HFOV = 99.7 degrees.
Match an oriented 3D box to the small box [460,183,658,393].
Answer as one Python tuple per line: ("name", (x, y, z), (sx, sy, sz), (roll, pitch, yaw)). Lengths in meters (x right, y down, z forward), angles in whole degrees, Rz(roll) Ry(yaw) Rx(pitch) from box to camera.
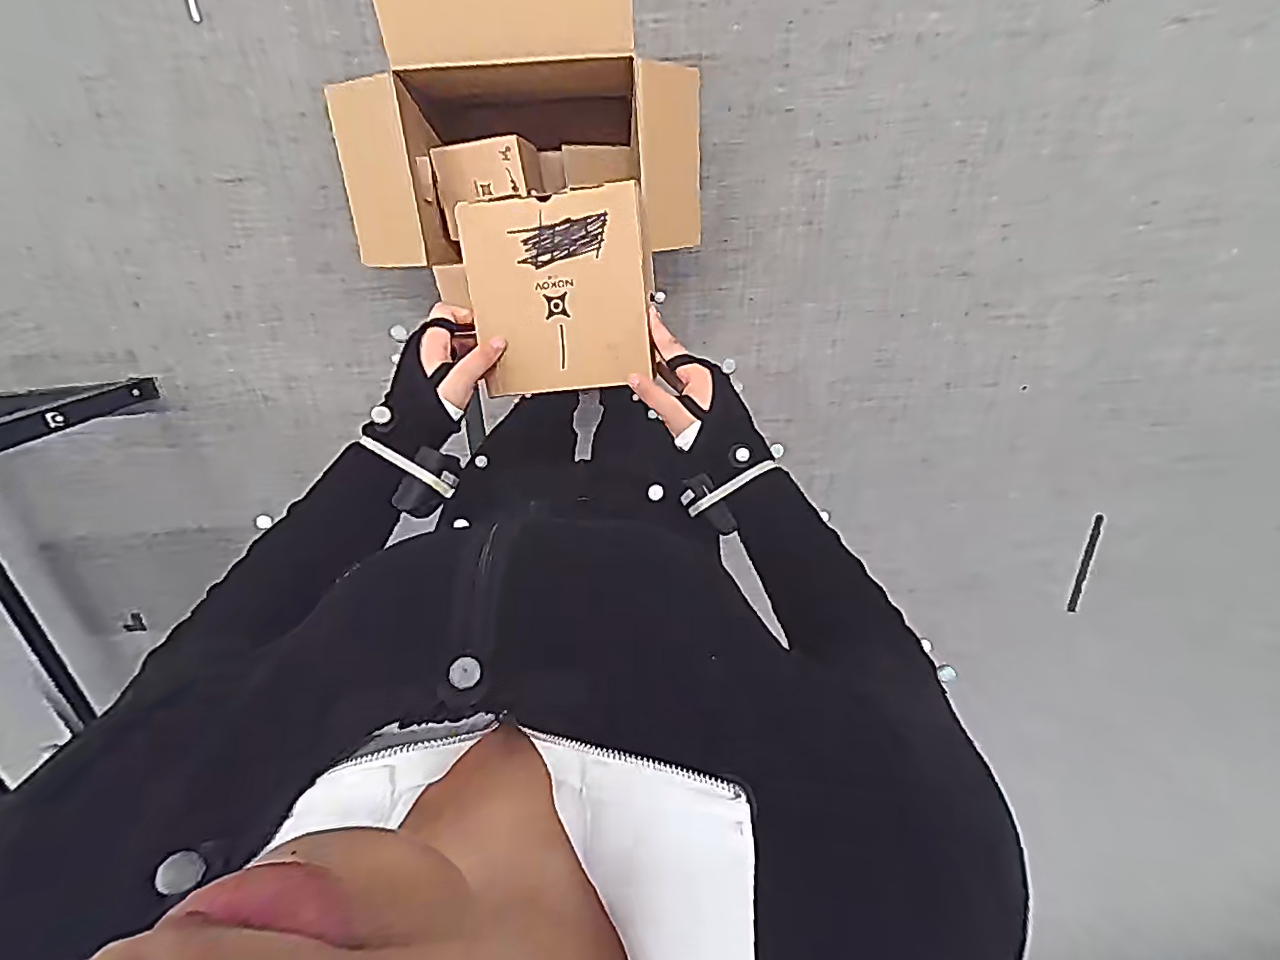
("small box", (-0.070, -0.193, 0.576), (0.168, 0.176, 0.179), (-3, 106, 6))
